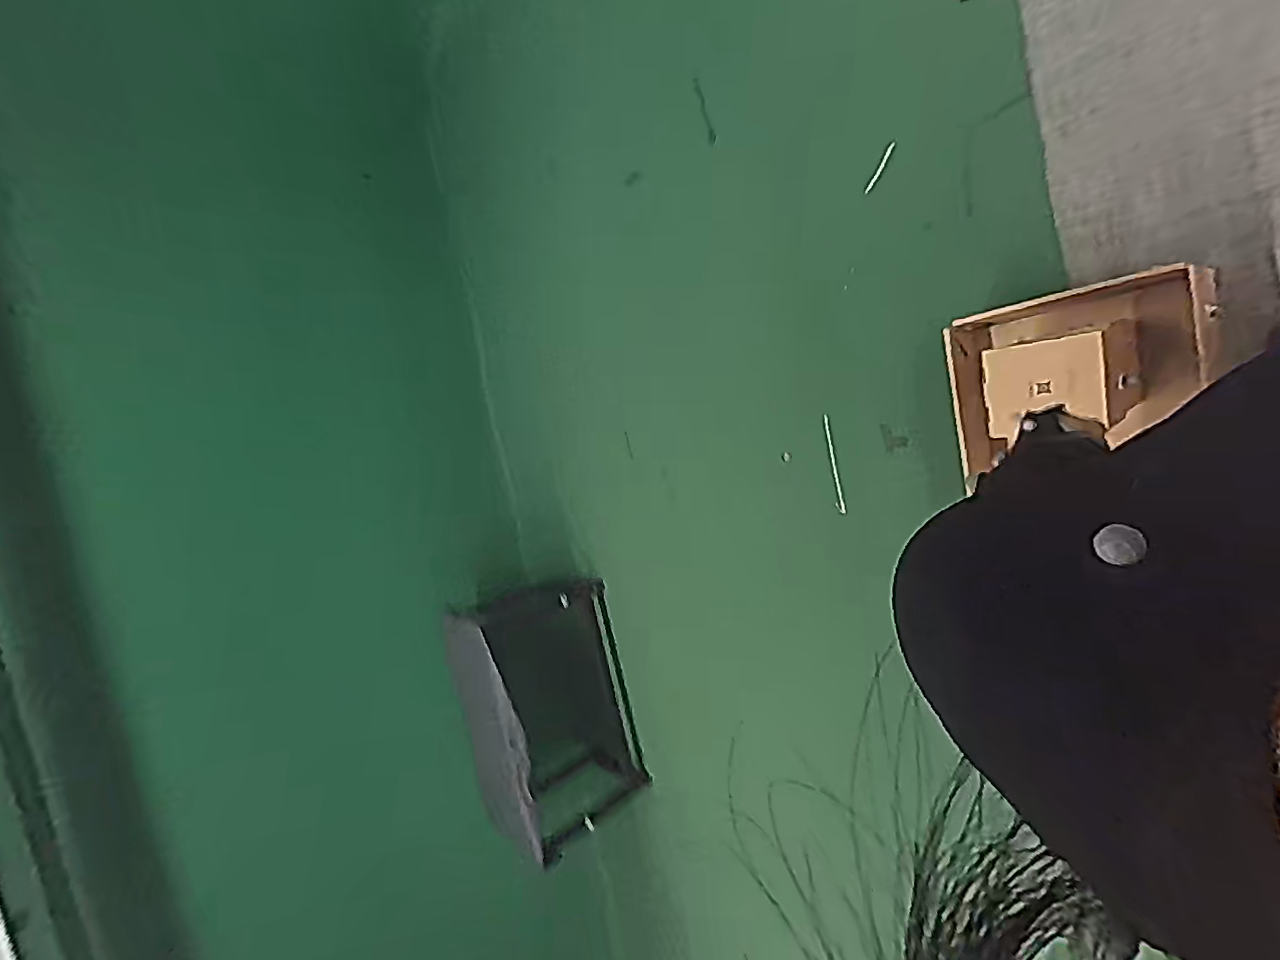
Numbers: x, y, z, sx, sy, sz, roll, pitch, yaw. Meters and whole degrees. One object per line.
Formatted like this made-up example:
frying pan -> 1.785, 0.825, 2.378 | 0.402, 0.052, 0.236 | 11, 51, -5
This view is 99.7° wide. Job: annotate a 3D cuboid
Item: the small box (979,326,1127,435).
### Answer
small box -> 0.753, -0.179, 0.986 | 0.179, 0.176, 0.168 | -3, 100, 51
